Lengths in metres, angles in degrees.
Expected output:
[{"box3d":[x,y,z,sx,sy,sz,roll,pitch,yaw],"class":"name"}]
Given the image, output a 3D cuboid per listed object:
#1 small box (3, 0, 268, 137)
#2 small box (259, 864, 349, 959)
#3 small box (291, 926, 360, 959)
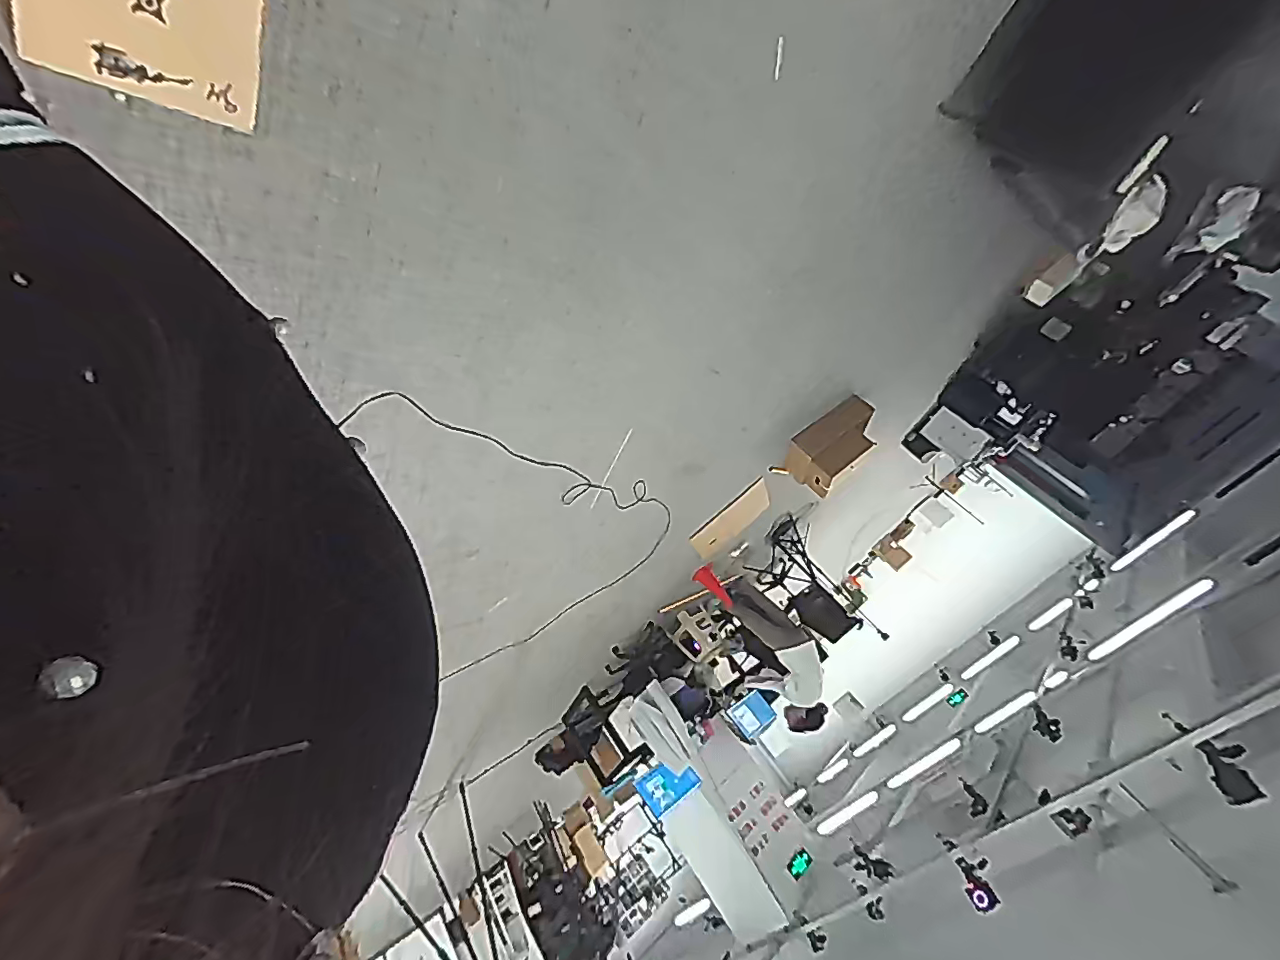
[{"box3d":[-0.467,-0.467,0.498,0.168,0.176,0.179,-7,136,-48],"class":"small box"},{"box3d":[-0.922,1.204,1.476,0.179,0.176,0.168,-13,143,-43],"class":"small box"},{"box3d":[-0.826,1.317,1.408,0.168,0.176,0.179,-13,142,-43],"class":"small box"}]
